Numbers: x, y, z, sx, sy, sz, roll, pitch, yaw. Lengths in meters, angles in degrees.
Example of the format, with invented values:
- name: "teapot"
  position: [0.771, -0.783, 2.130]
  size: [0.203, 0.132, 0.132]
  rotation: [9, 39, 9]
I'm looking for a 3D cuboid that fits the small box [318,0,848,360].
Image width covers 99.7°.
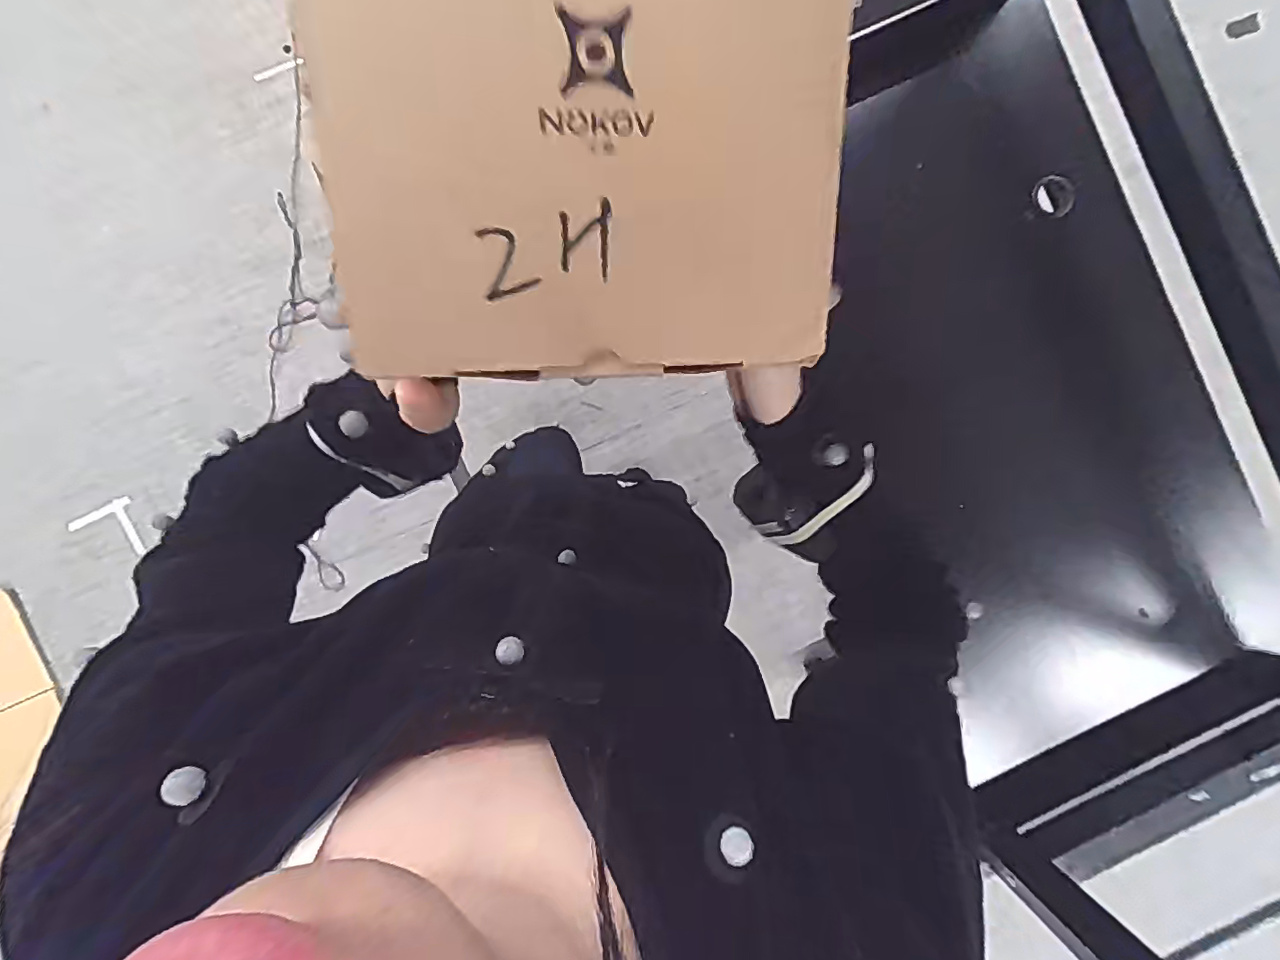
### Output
- name: "small box"
  position: [-0.027, -0.147, 0.247]
  size: [0.168, 0.176, 0.179]
  rotation: [-3, 106, -9]
